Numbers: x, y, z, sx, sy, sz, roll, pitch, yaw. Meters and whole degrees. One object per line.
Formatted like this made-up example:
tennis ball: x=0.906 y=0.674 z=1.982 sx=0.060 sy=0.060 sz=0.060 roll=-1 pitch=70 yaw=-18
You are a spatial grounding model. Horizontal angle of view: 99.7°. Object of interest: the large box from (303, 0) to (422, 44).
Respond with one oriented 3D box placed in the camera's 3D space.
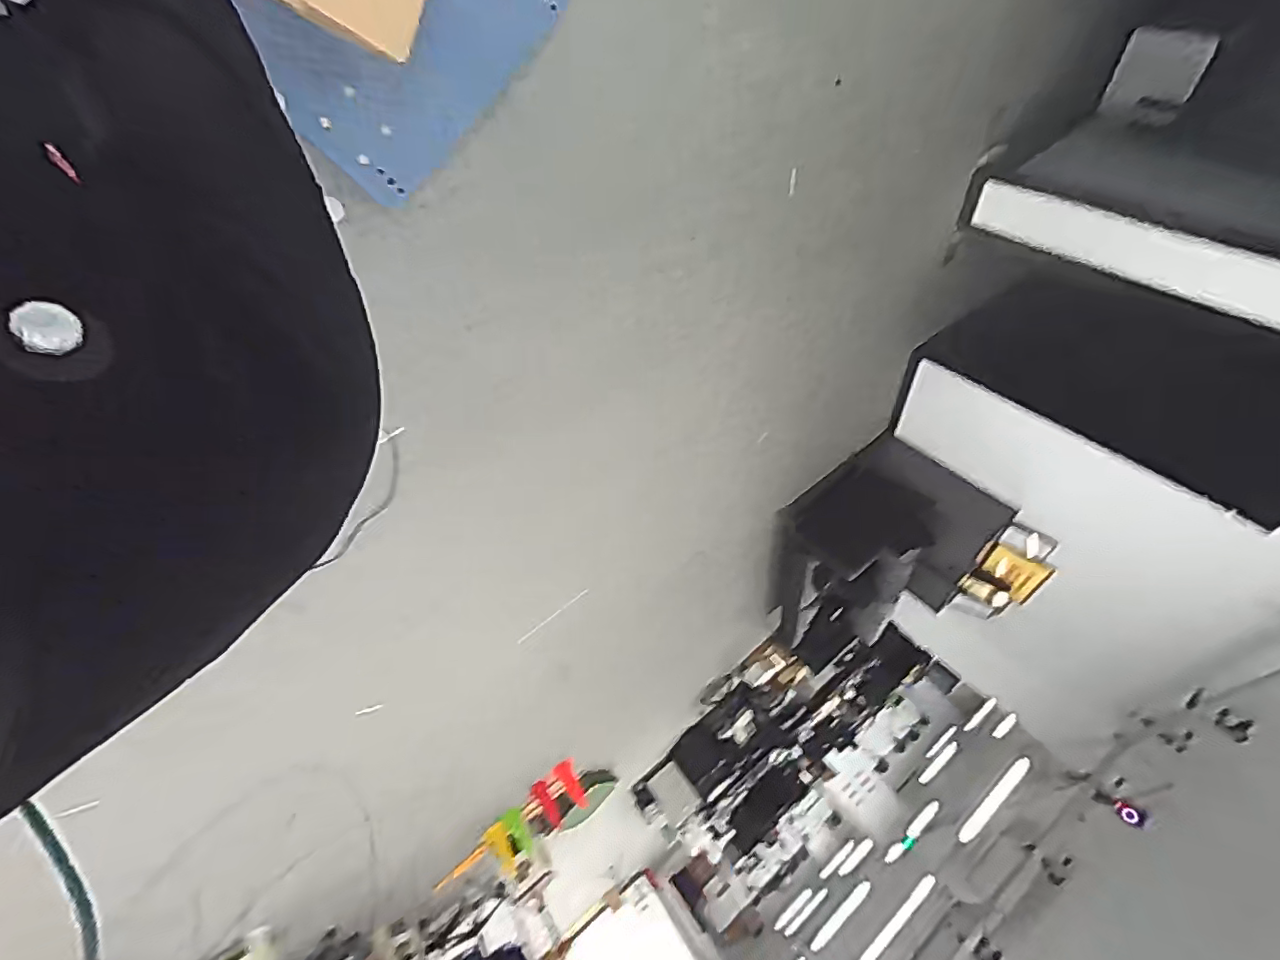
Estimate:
large box: x=-0.427 y=-0.850 z=0.650 sx=0.320 sy=0.320 sz=0.408 roll=2 pitch=123 yaw=-49
